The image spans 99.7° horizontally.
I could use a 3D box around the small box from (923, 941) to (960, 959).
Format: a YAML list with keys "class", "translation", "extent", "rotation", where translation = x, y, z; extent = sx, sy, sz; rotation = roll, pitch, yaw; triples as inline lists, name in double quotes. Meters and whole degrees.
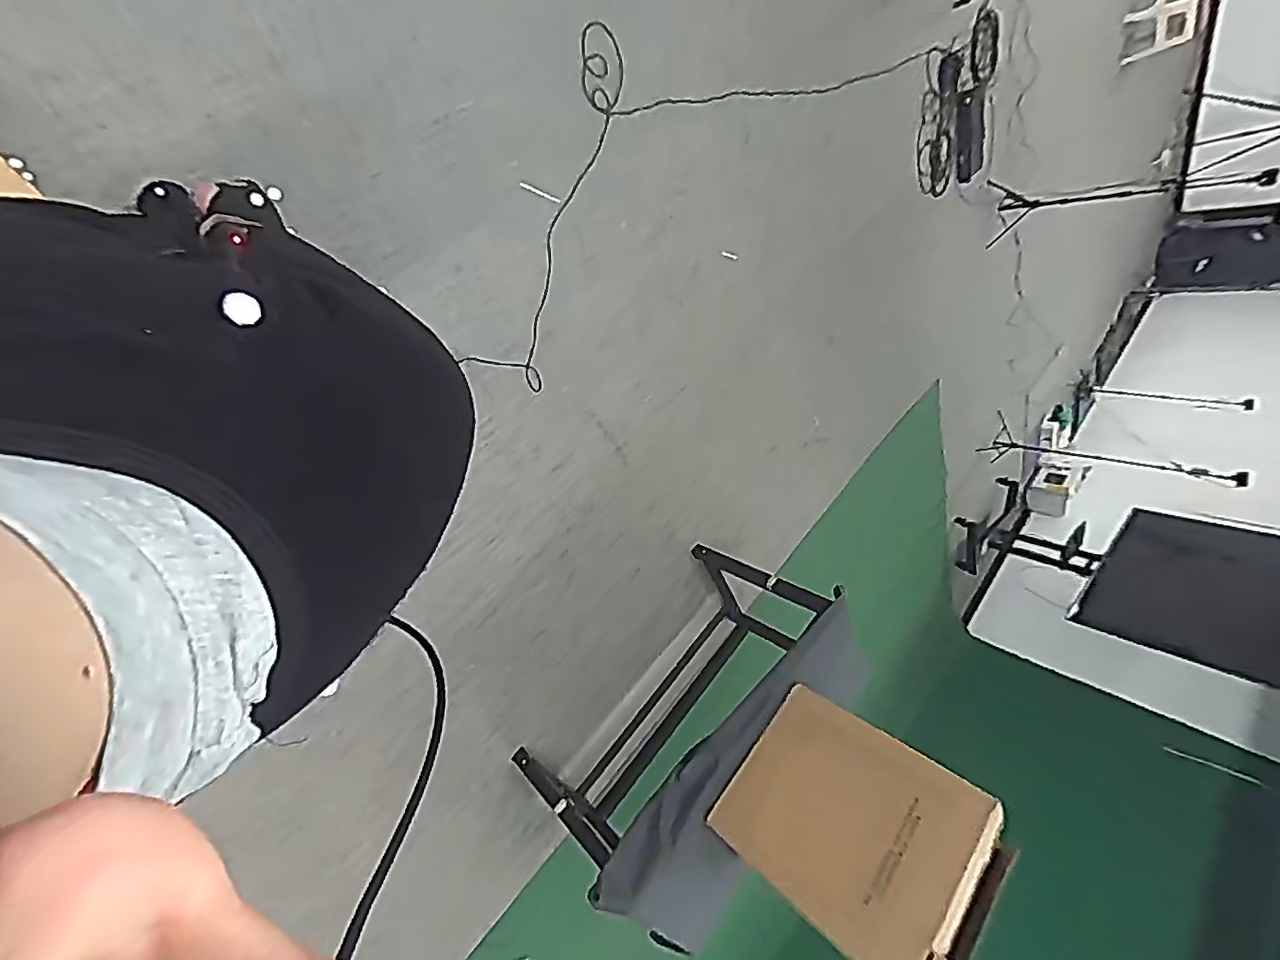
- class: "small box"
  translation: [0.734, 1.222, 1.257]
  extent: [0.168, 0.176, 0.179]
  rotation: [-52, 132, -15]

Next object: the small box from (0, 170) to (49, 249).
- class: "small box"
  translation: [-1.033, -0.424, 0.787]
  extent: [0.168, 0.176, 0.179]
  rotation: [-48, 130, -20]
